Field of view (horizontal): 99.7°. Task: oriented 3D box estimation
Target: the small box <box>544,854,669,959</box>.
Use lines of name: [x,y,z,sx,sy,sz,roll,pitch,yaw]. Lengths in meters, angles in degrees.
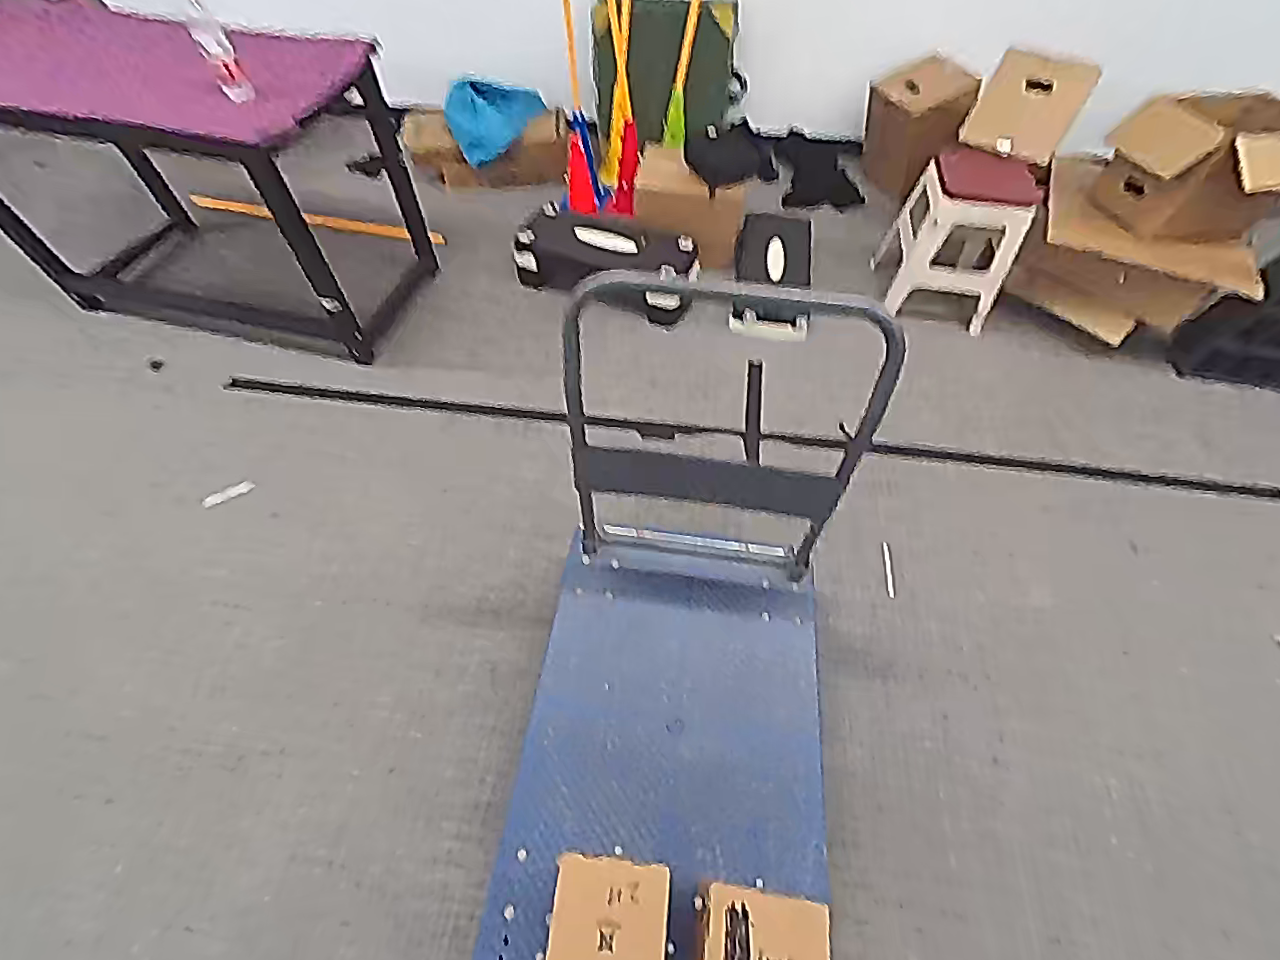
small box: [-0.049,0.691,0.829,0.168,0.176,0.179,7,55,3]
